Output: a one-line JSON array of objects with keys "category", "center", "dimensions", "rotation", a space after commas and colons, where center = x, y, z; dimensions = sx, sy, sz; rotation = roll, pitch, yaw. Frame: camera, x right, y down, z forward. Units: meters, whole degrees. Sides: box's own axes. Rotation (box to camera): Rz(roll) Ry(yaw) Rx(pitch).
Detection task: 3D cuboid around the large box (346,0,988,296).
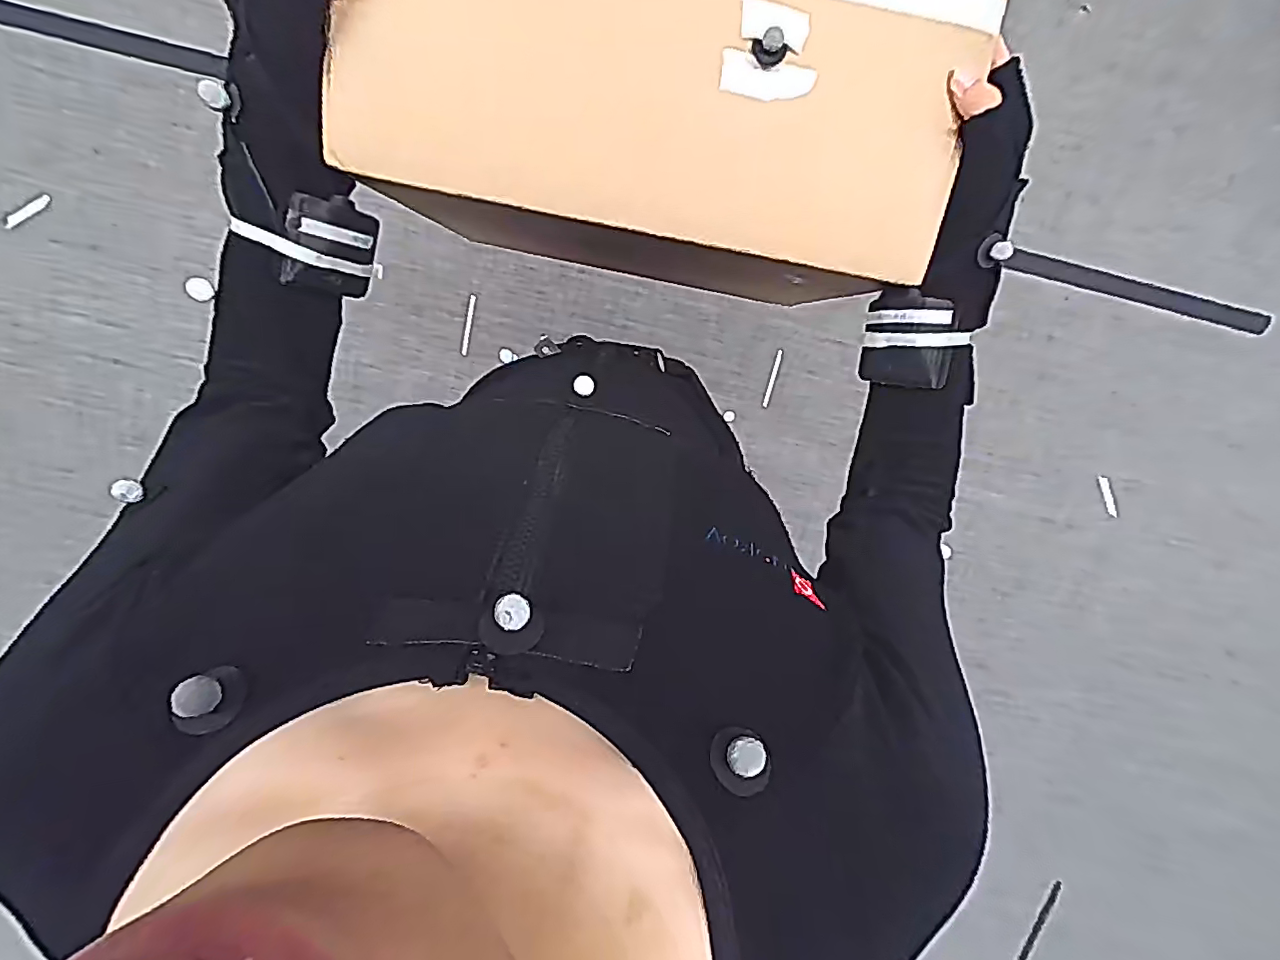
[{"category": "large box", "center": [0.020, -0.364, 0.477], "dimensions": [0.408, 0.320, 0.320], "rotation": [10, 105, -4]}]
